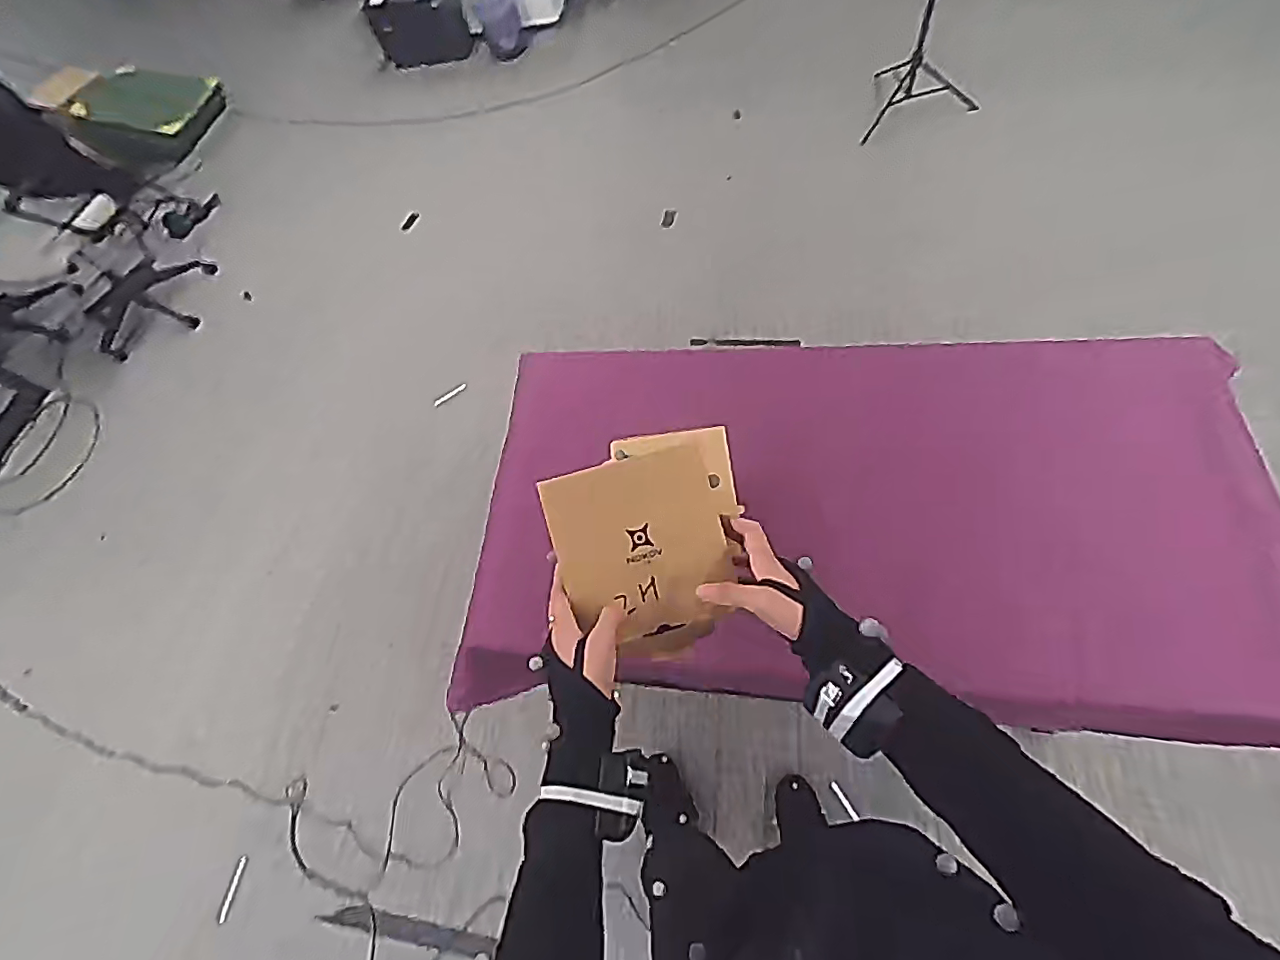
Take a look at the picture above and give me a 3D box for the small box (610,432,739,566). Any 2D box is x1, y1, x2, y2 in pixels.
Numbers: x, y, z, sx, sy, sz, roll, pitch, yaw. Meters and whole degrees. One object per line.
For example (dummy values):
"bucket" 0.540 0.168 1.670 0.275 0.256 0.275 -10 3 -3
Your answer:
"small box" 0.057 0.047 0.843 0.179 0.176 0.168 -7 62 6

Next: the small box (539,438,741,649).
"small box" -0.003 0.064 0.608 0.168 0.176 0.179 -15 89 -1
